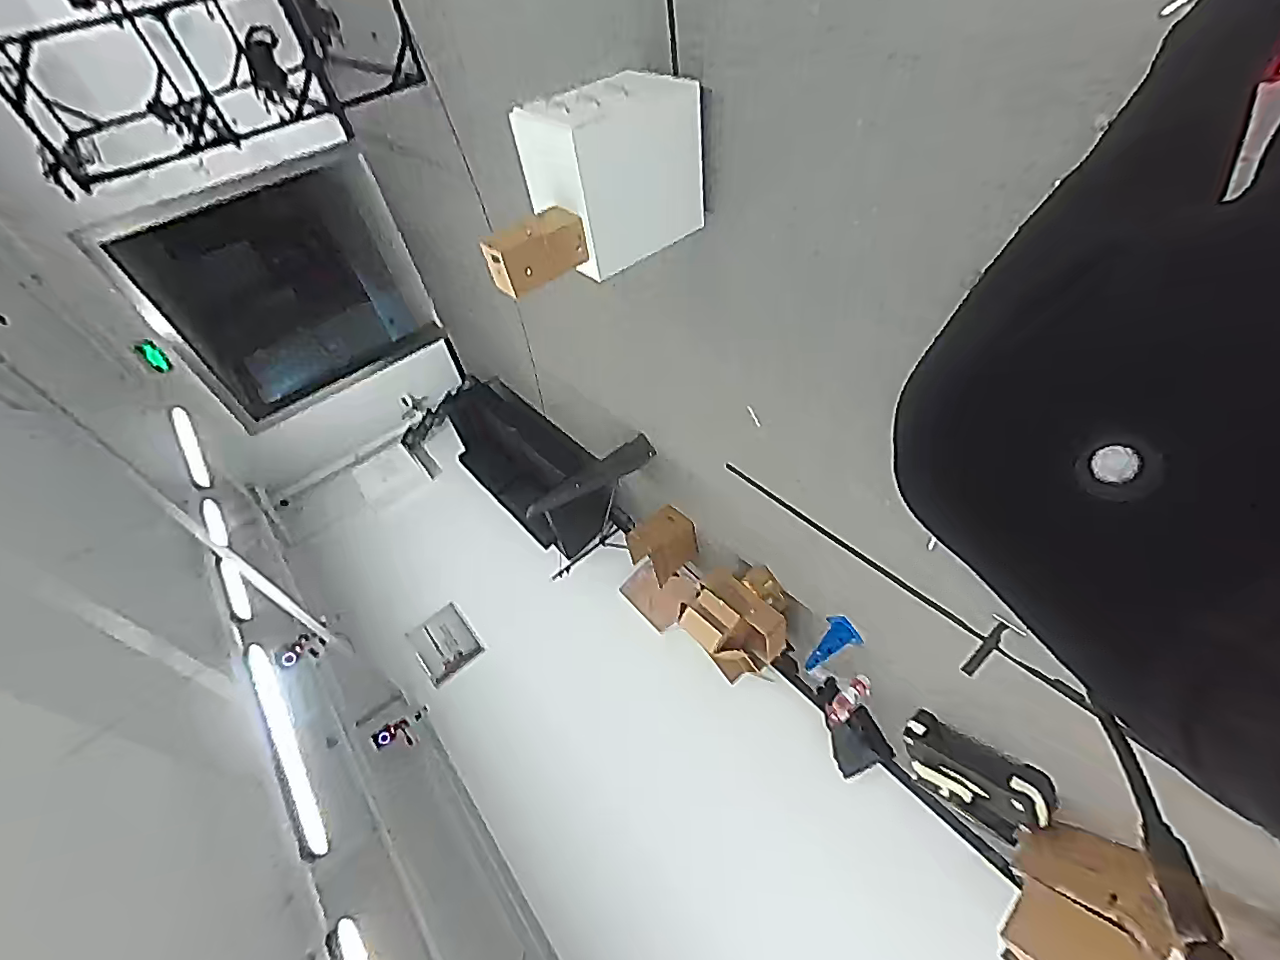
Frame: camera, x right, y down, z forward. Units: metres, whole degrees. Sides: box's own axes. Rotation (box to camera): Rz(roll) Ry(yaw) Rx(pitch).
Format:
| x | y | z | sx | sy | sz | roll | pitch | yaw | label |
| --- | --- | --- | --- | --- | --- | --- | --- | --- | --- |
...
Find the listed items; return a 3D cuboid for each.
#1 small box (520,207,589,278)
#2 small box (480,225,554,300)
| x | y | z | sx | sy | sz | roll | pitch | yaw | label |
| --- | --- | --- | --- | --- | --- | --- | --- | --- | --- |
| -0.310 | -0.876 | 1.984 | 0.179 | 0.176 | 0.168 | 41 | 156 | 33 | small box |
| -0.434 | -0.782 | 1.933 | 0.168 | 0.176 | 0.179 | 40 | 157 | 37 | small box |
